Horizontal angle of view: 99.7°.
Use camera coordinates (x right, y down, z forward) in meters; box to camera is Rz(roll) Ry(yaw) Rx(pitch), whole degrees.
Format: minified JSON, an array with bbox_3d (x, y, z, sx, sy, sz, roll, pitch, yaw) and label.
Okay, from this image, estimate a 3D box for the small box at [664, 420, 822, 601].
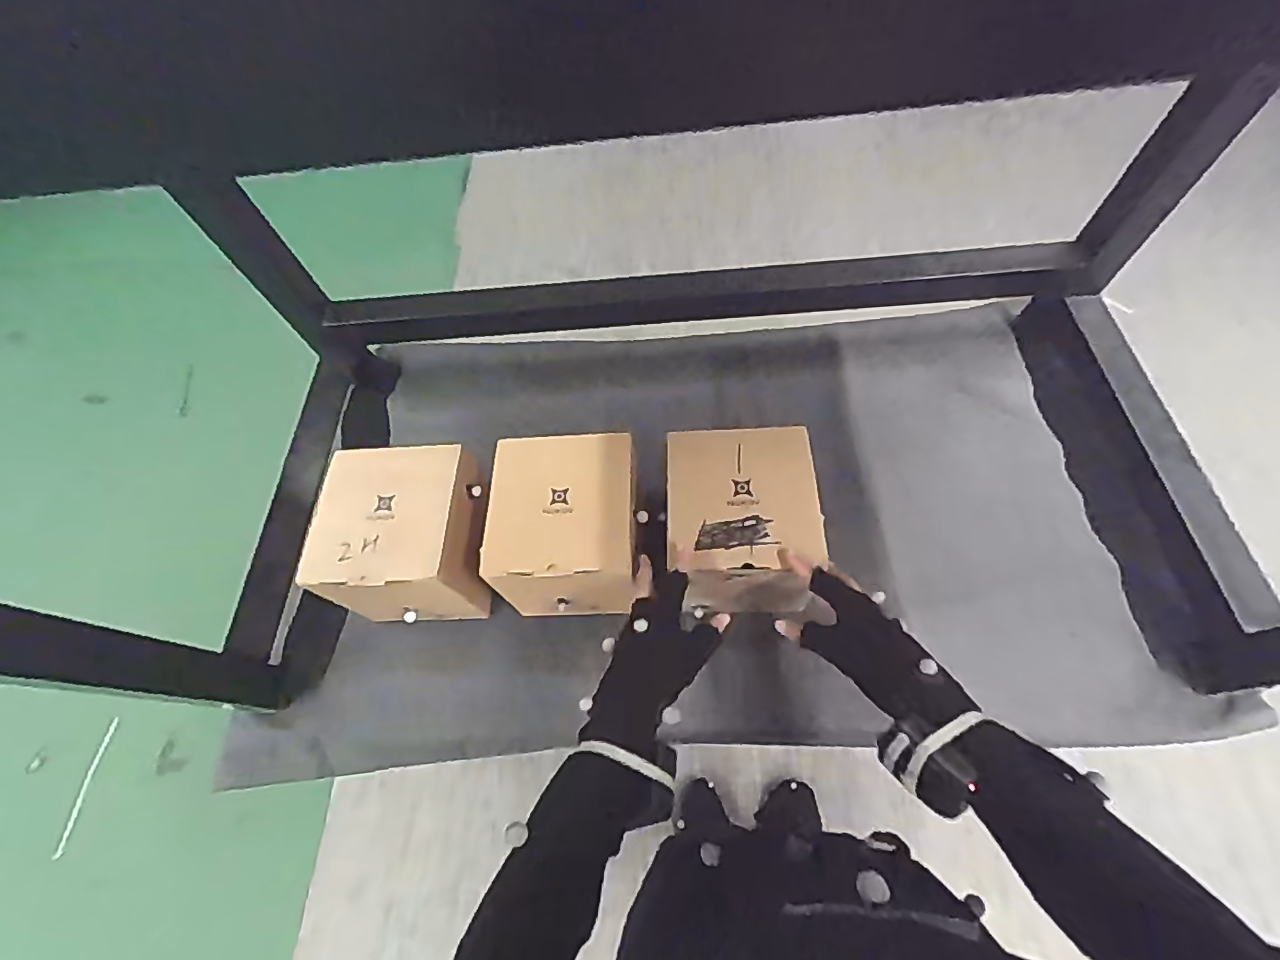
[{"bbox_3d":[0.117,0.047,0.666,0.168,0.176,0.179,-2,61,5],"label":"small box"}]
